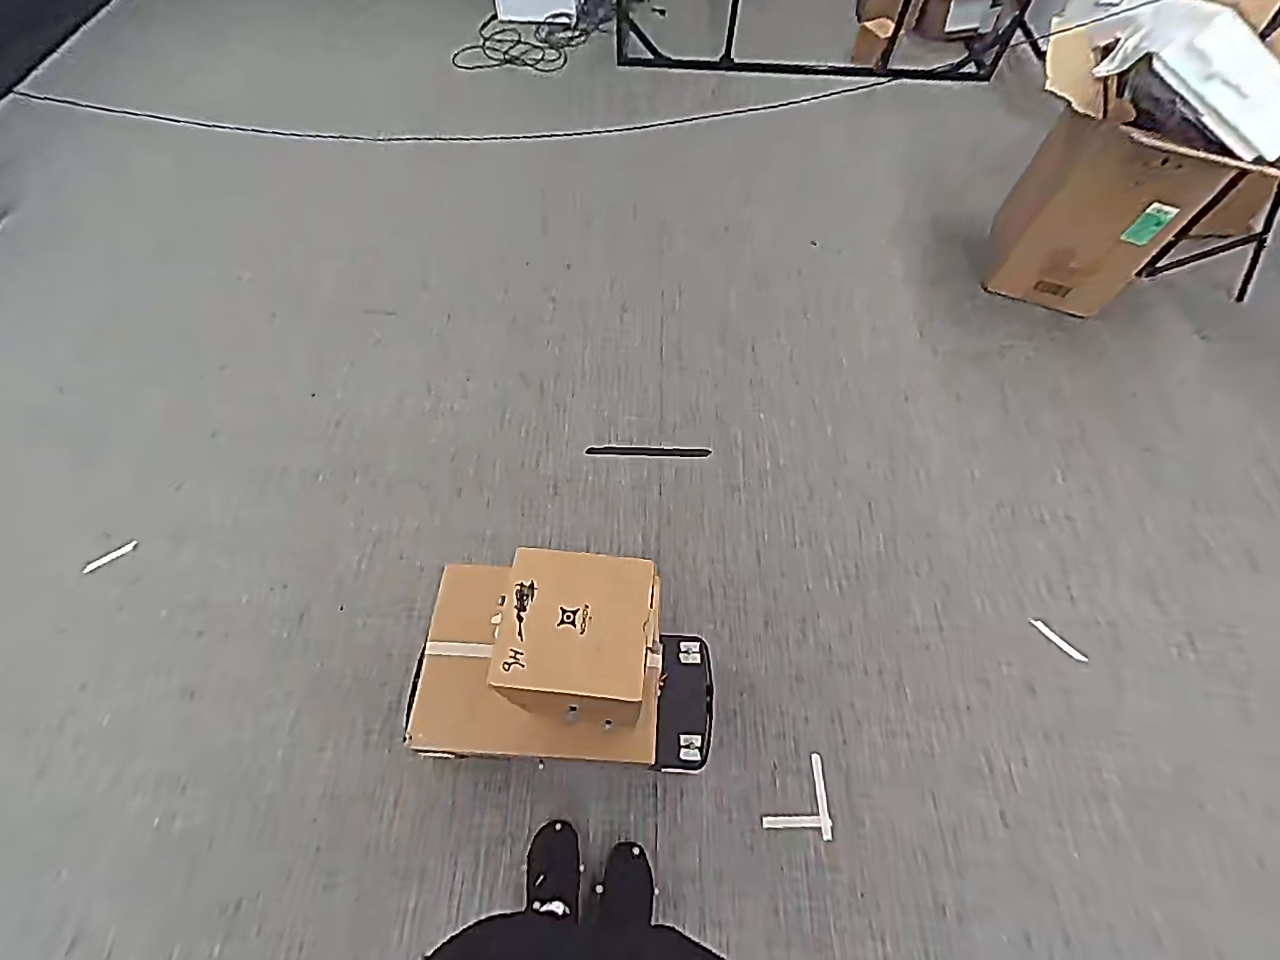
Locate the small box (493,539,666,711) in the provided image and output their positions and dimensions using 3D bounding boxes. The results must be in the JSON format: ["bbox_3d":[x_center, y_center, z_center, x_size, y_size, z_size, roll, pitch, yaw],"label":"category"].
[{"bbox_3d":[-0.067,0.192,0.691,0.179,0.176,0.168,7,60,2],"label":"small box"}]

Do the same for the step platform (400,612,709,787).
[{"bbox_3d":[-0.181,0.500,1.257,0.684,0.204,0.286,8,61,4],"label":"step platform"}]

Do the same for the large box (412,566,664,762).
[{"bbox_3d":[-0.159,0.371,1.057,0.408,0.320,0.320,3,60,1],"label":"large box"}]

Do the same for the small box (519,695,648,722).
[{"bbox_3d":[-0.070,0.271,0.835,0.179,0.176,0.168,7,61,3],"label":"small box"}]
